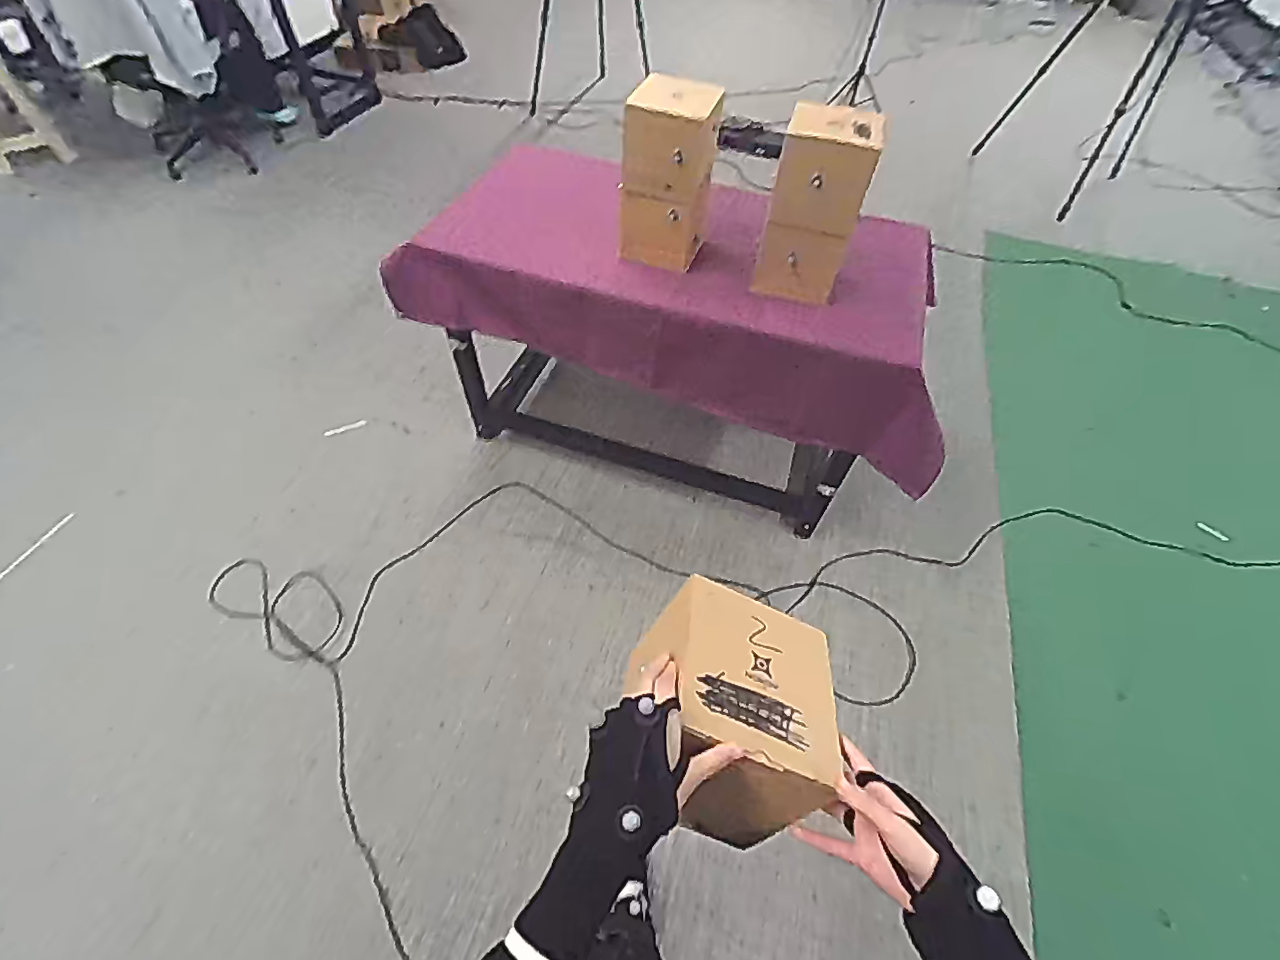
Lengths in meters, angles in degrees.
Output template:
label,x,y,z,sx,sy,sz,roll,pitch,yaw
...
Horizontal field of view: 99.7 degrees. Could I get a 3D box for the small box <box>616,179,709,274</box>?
label,x,y,z,sx,sy,sz,roll,pitch,yaw
small box,0.050,-0.618,1.287,0.179,0.176,0.168,18,54,9

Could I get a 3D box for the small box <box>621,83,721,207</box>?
label,x,y,z,sx,sy,sz,roll,pitch,yaw
small box,0.063,-0.713,1.156,0.168,0.176,0.179,17,53,8

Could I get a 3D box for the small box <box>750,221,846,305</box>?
label,x,y,z,sx,sy,sz,roll,pitch,yaw
small box,0.356,-0.522,1.226,0.179,0.176,0.168,14,54,9

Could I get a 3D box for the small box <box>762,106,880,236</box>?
label,x,y,z,sx,sy,sz,roll,pitch,yaw
small box,0.361,-0.619,1.092,0.179,0.176,0.168,15,53,9
